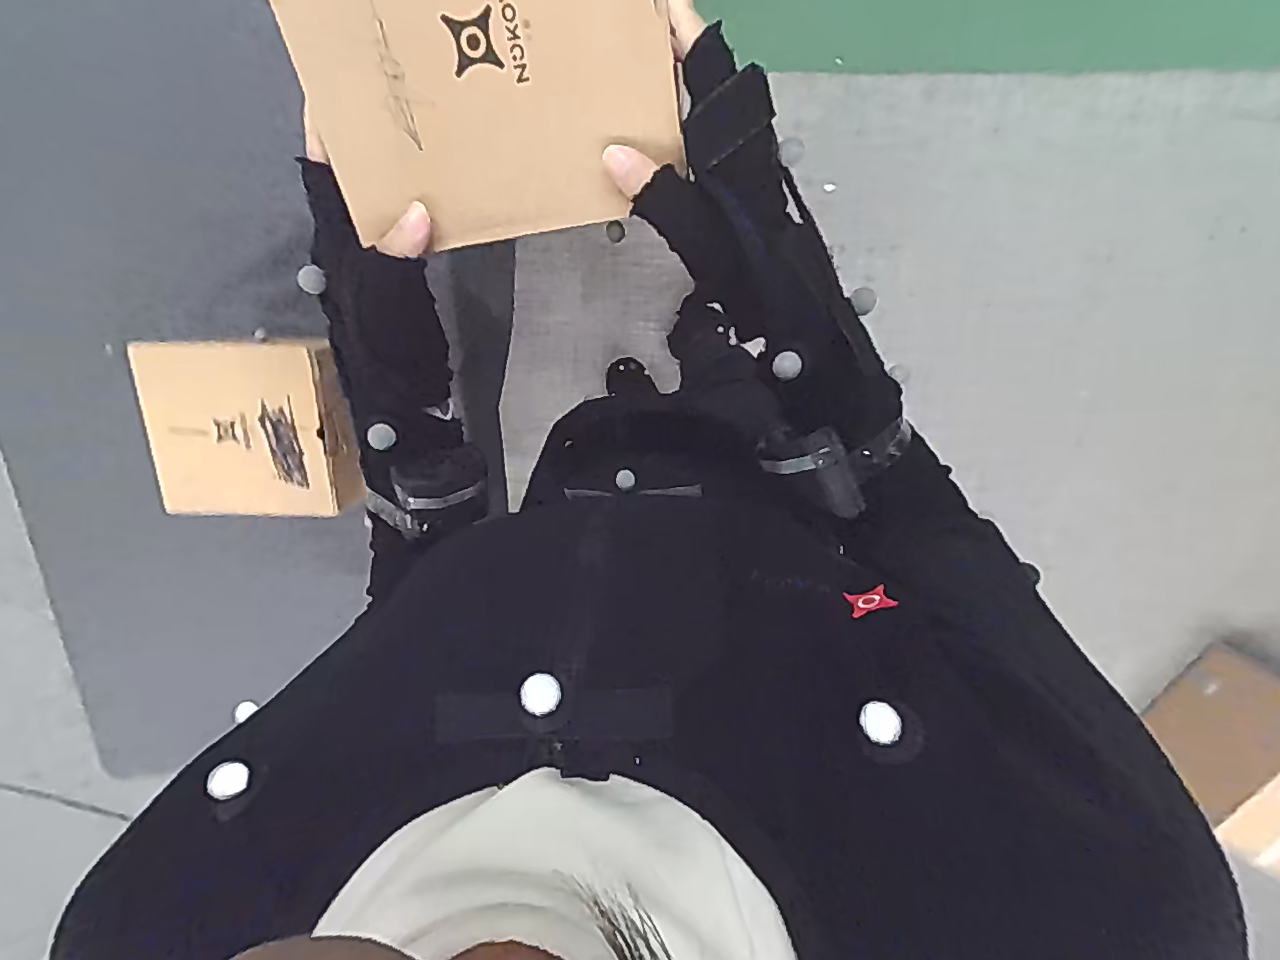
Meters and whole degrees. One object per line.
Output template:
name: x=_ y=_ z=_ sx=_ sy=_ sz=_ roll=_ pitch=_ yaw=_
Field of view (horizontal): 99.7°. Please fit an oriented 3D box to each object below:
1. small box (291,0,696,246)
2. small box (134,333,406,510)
small box: x=-0.069 y=-0.244 z=0.319 sx=0.179 sy=0.176 sz=0.168 roll=-8 pitch=116 yaw=5
small box: x=-0.380 y=-0.073 z=0.599 sx=0.179 sy=0.176 sz=0.168 roll=-3 pitch=106 yaw=2
